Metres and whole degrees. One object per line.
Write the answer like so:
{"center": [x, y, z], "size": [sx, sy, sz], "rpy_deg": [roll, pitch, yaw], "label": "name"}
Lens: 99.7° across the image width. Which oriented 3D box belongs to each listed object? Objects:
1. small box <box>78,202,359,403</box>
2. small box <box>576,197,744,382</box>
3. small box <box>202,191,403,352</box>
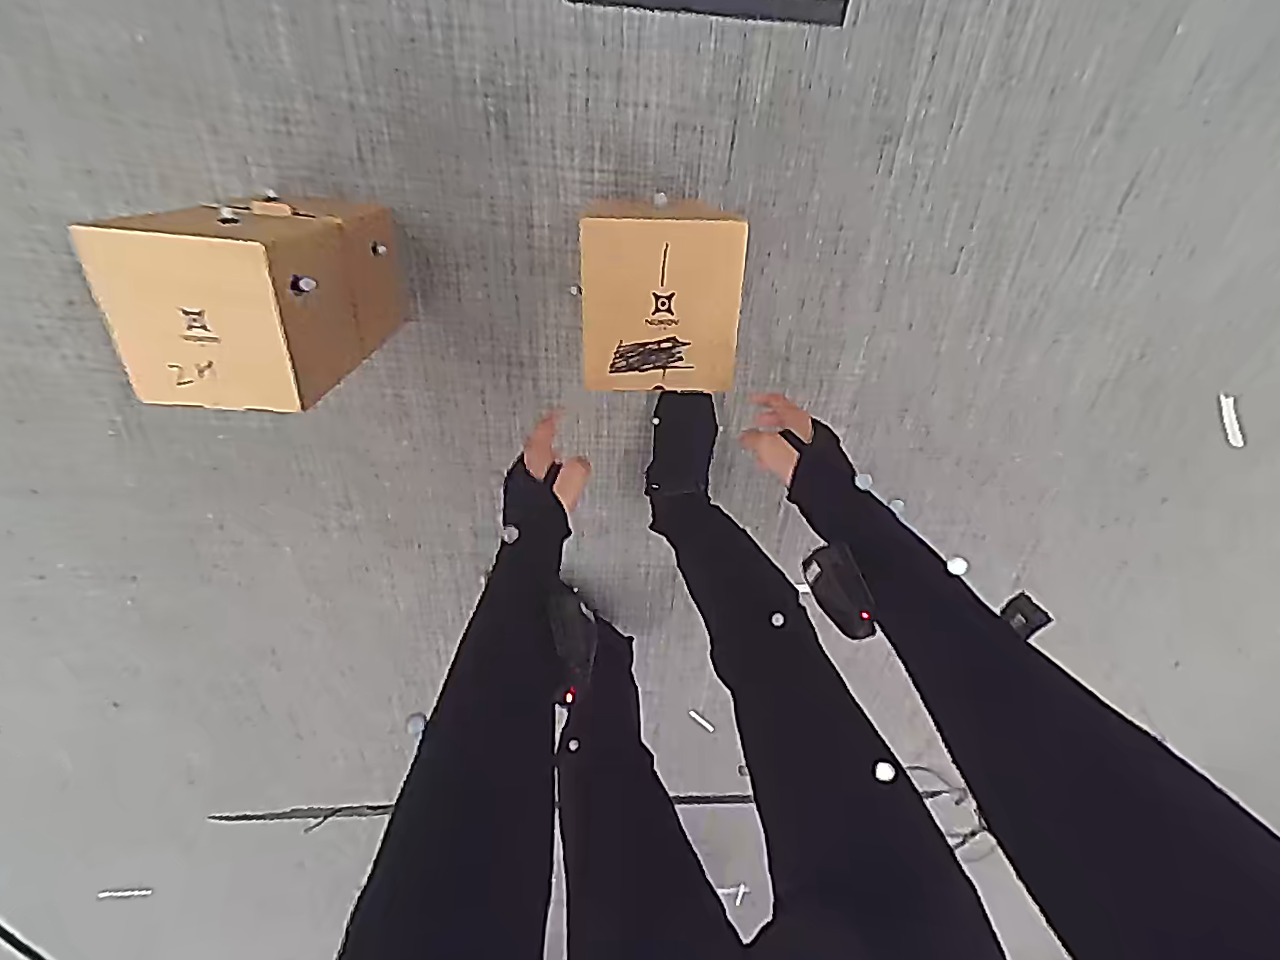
{"center": [-0.440, -0.204, 0.605], "size": [0.168, 0.176, 0.179], "rpy_deg": [4, 121, -5], "label": "small box"}
{"center": [0.013, -0.225, 0.630], "size": [0.168, 0.176, 0.179], "rpy_deg": [-1, 119, -4], "label": "small box"}
{"center": [-0.443, -0.291, 0.744], "size": [0.168, 0.176, 0.179], "rpy_deg": [4, 120, -6], "label": "small box"}
